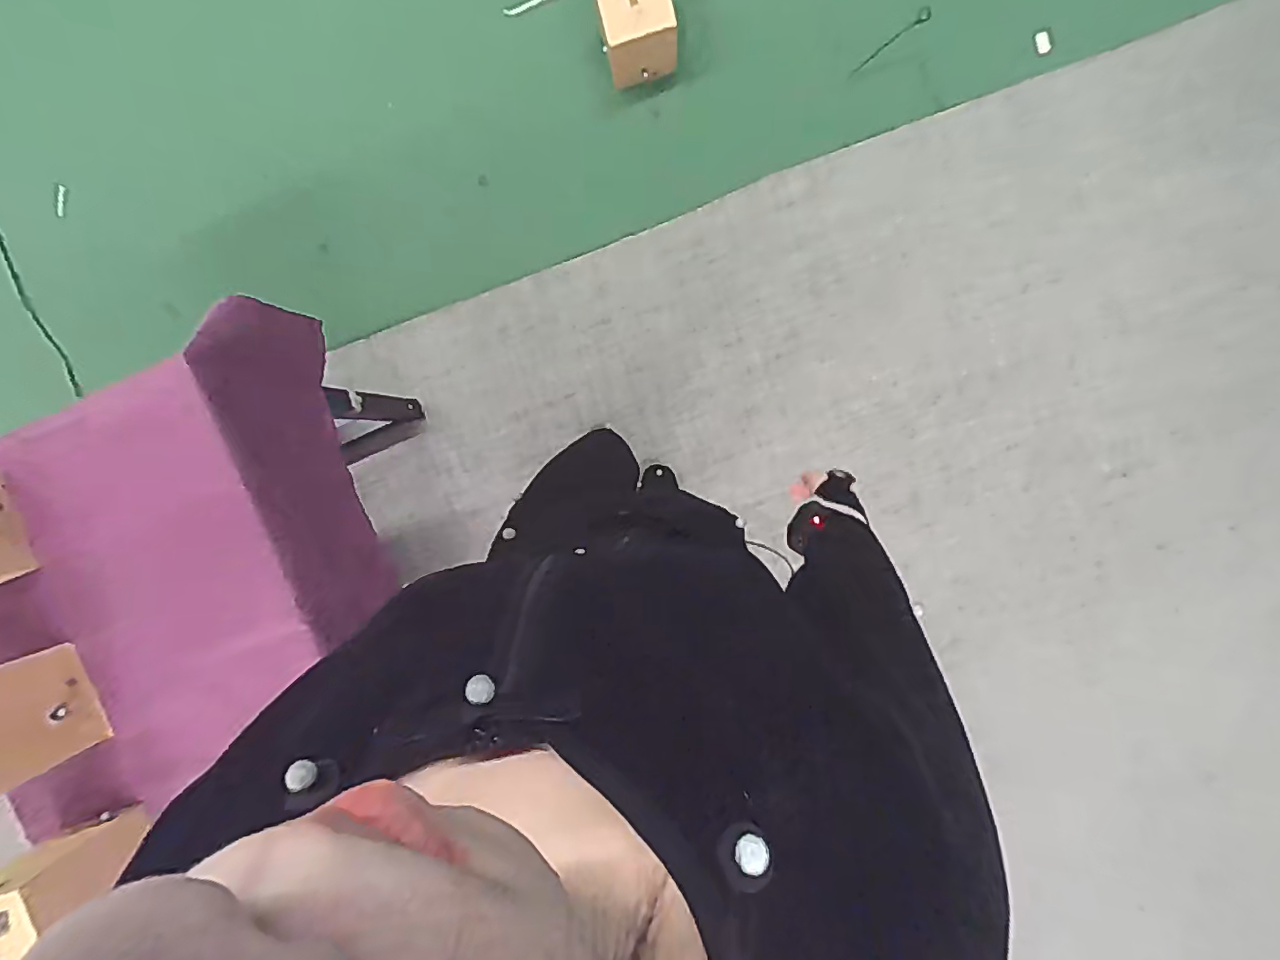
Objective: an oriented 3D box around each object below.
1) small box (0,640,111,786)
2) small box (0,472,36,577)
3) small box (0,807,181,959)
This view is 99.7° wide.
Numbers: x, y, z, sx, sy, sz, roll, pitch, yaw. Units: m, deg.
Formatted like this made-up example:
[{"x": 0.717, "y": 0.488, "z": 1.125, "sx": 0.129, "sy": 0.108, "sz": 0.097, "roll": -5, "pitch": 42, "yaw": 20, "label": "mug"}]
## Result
[{"x": -0.951, "y": 0.359, "z": 0.786, "sx": 0.179, "sy": 0.176, "sz": 0.168, "roll": -22, "pitch": 93, "yaw": 4, "label": "small box"}, {"x": -1.050, "y": 0.088, "z": 0.767, "sx": 0.179, "sy": 0.176, "sz": 0.168, "roll": -19, "pitch": 94, "yaw": 3, "label": "small box"}, {"x": -0.844, "y": 0.620, "z": 0.796, "sx": 0.168, "sy": 0.176, "sz": 0.179, "roll": -20, "pitch": 93, "yaw": 5, "label": "small box"}]
